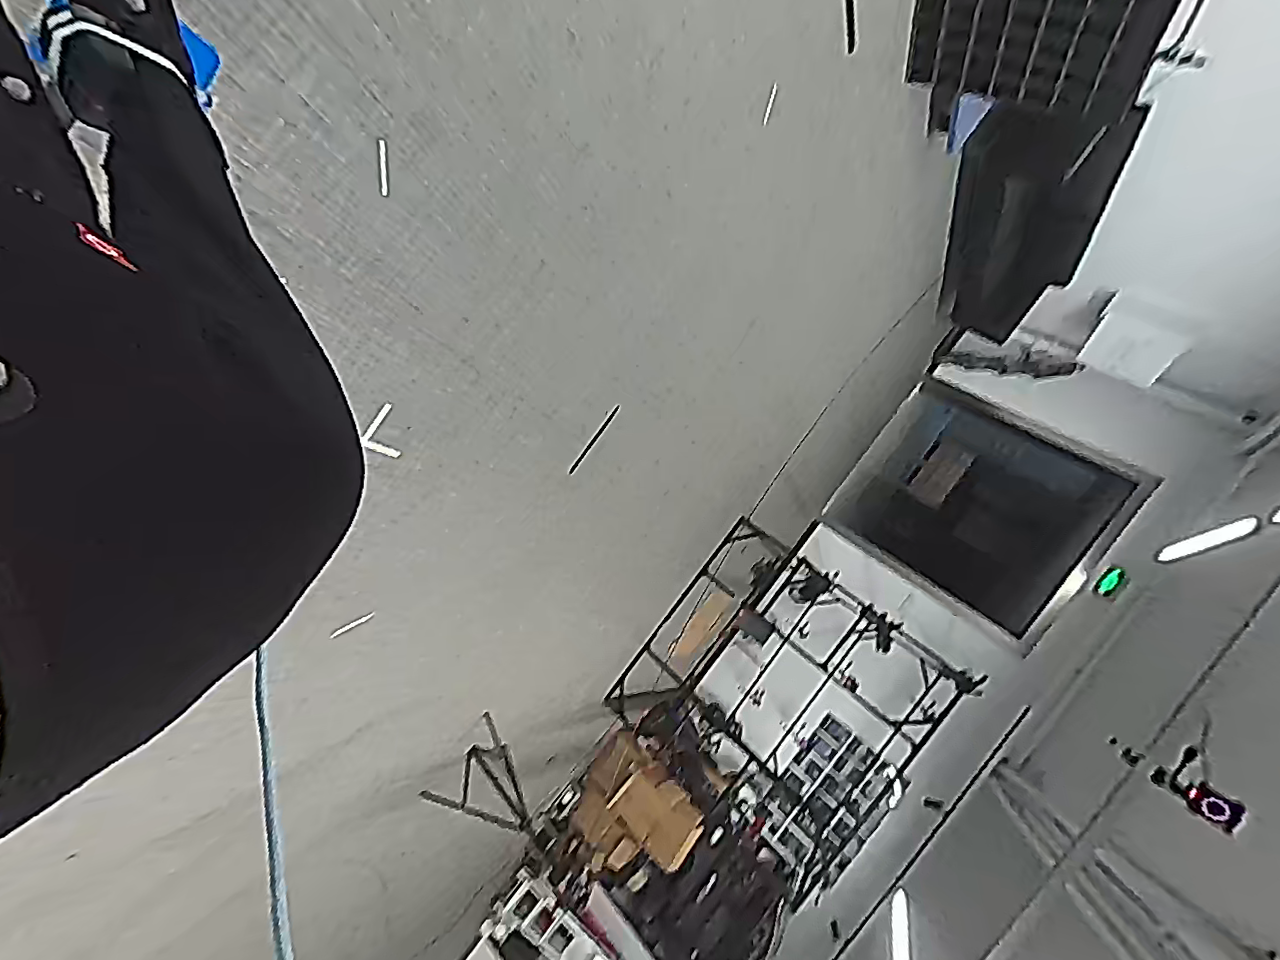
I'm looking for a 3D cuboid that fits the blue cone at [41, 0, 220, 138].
[{"bbox_3d":[-0.766,-0.646,0.860,0.193,0.380,0.192,-54,153,4],"label":"blue cone"}]
